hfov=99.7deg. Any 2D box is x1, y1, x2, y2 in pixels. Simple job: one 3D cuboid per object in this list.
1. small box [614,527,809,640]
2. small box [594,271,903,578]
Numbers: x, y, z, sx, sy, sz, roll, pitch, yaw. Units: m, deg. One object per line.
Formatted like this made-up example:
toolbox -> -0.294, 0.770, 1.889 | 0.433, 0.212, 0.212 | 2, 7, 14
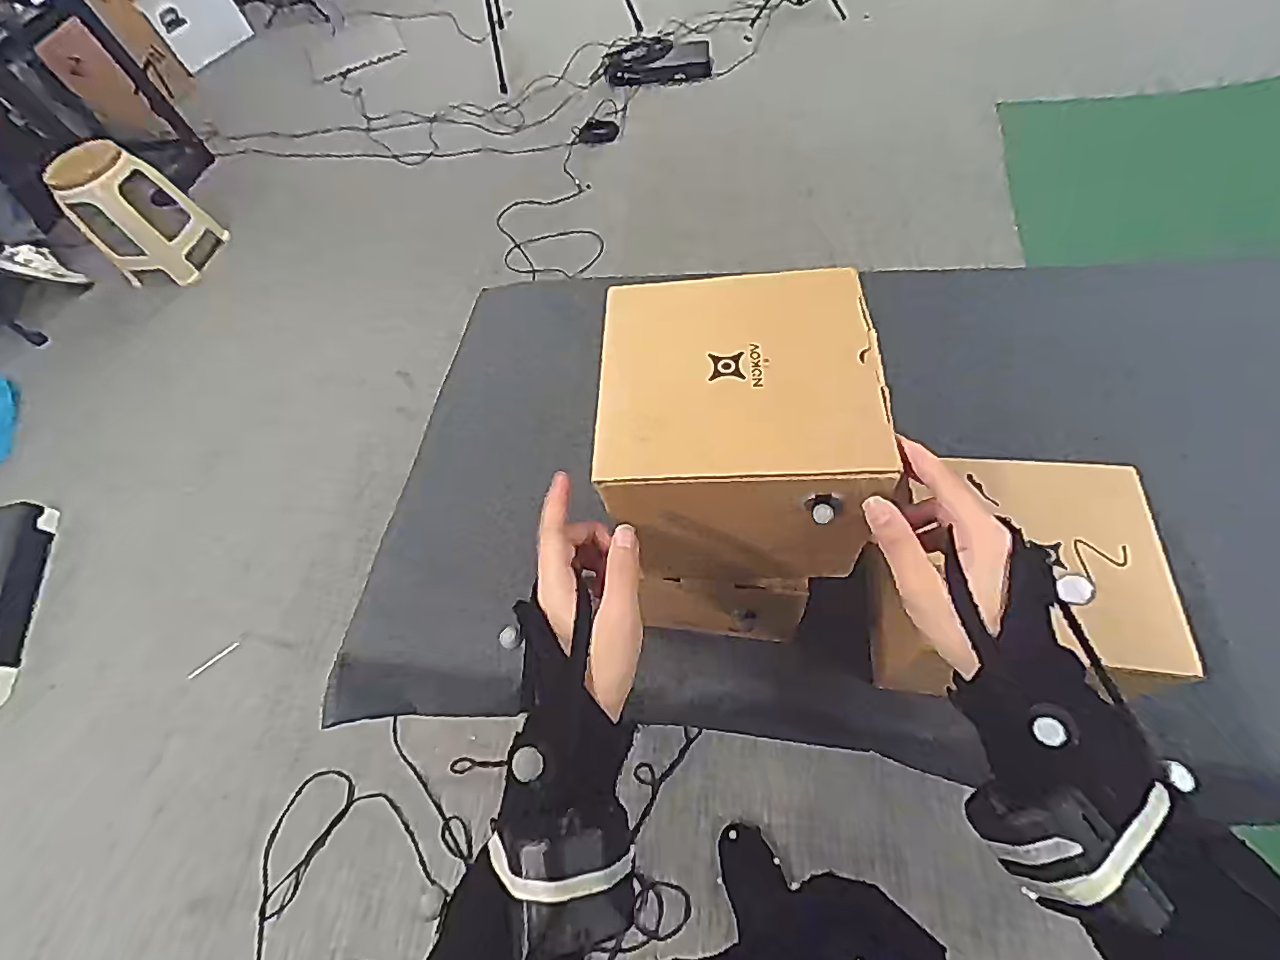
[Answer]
small box -> 0.082, 0.053, 0.553 | 0.168, 0.176, 0.179 | 4, 60, 11
small box -> 0.073, -0.030, 0.412 | 0.179, 0.176, 0.168 | -2, 59, 8
